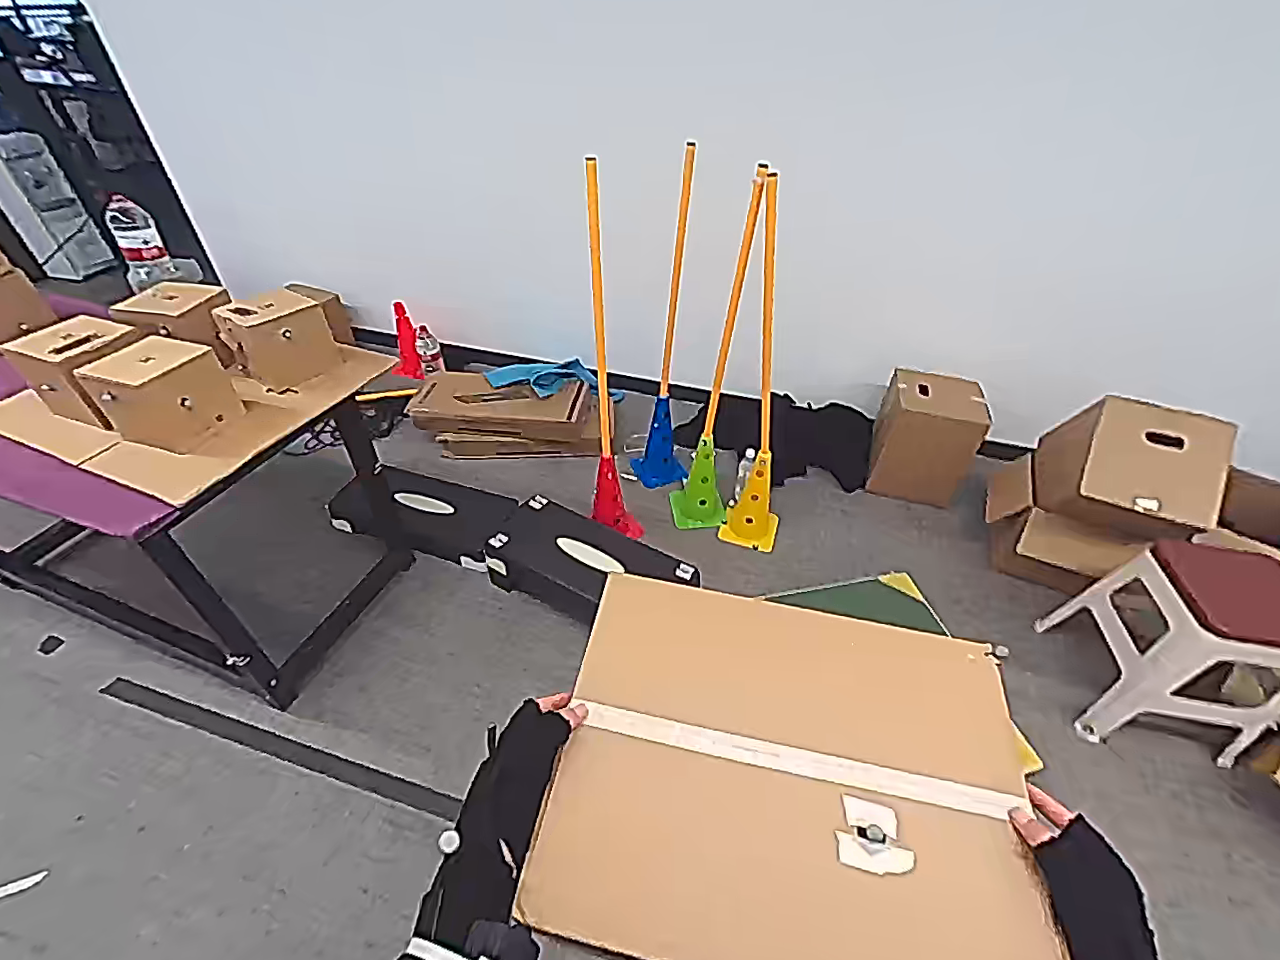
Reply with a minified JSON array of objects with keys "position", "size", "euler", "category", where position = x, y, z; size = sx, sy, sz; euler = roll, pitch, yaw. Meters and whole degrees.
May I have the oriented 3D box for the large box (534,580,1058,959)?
[{"position":[0.132,0.354,0.601],"size":[0.408,0.320,0.320],"euler":[10,48,7],"category":"large box"}]
